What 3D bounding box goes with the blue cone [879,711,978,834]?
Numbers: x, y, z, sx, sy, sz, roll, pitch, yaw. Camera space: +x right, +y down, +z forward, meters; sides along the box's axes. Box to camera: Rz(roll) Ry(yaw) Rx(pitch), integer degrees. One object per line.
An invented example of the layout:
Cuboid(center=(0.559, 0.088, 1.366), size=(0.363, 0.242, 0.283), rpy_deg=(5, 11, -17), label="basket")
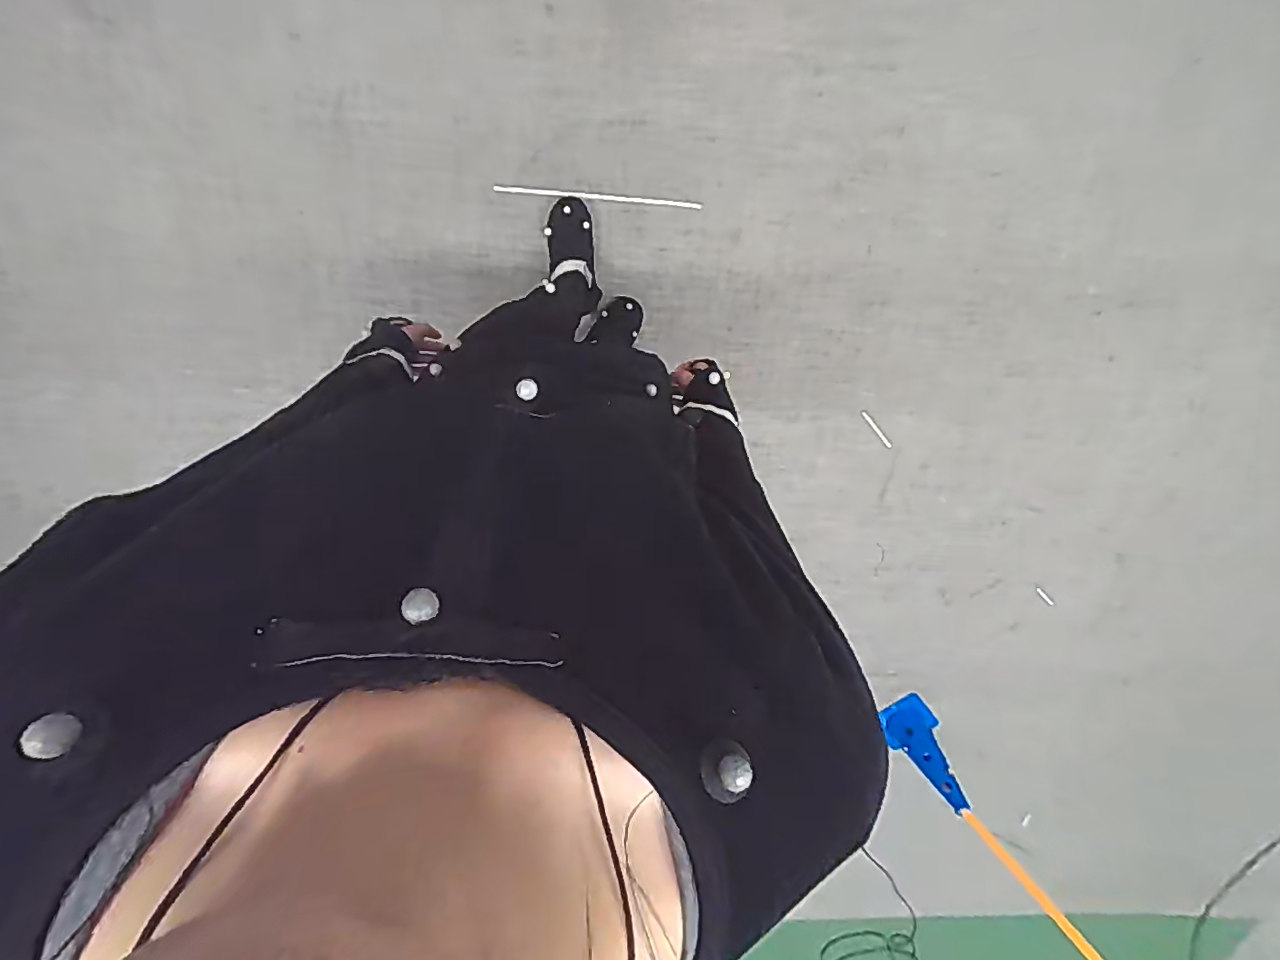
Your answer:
Cuboid(center=(0.972, 0.969, 1.774), size=(0.193, 0.380, 0.192), rpy_deg=(-40, 107, 10), label="blue cone")
